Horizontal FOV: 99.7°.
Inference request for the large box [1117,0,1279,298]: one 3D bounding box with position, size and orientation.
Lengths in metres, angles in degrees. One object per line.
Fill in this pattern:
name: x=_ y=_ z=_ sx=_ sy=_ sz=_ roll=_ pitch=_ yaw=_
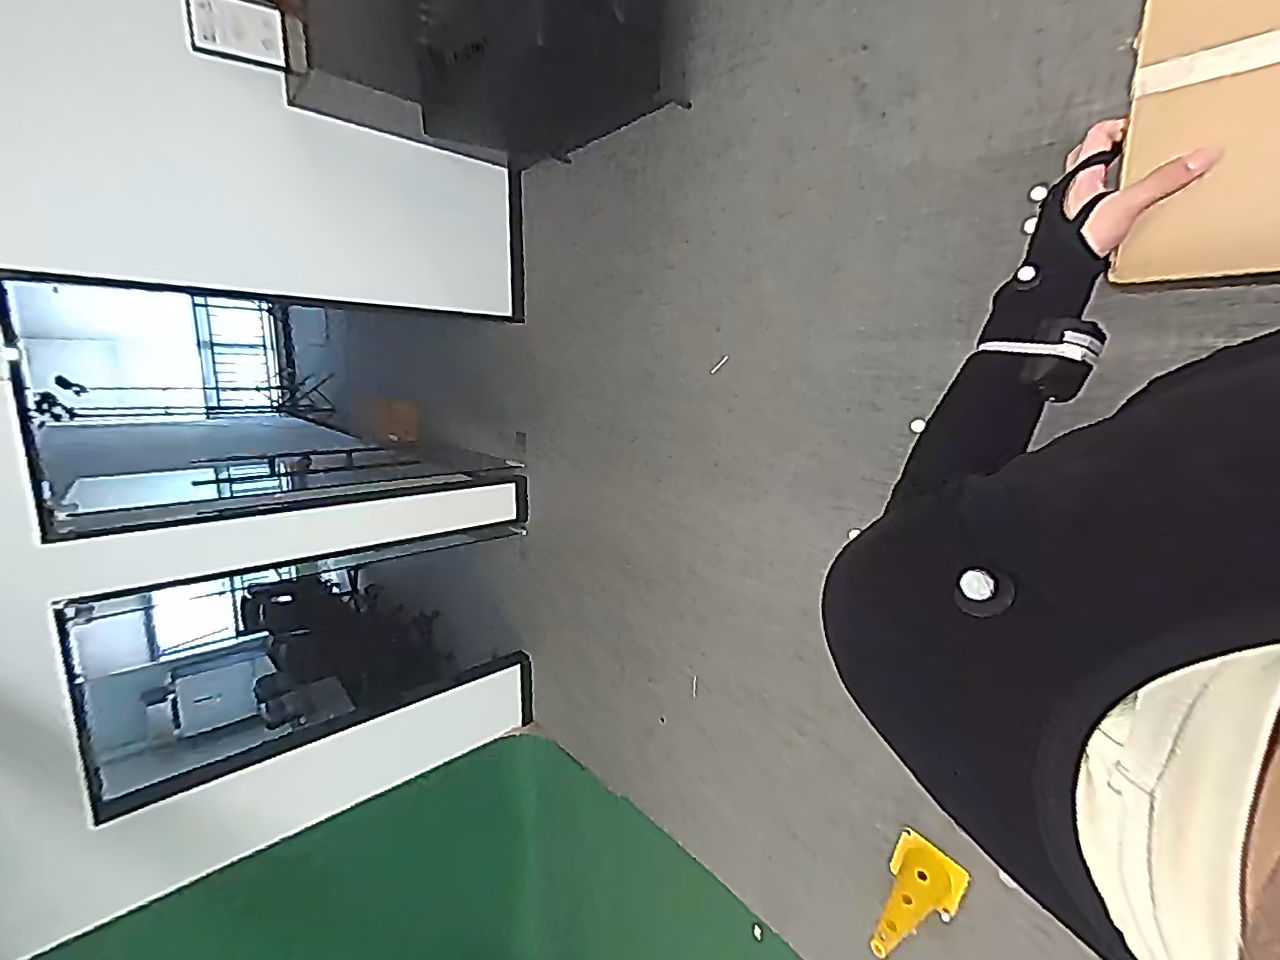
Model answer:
large box: x=0.664 y=-0.337 z=0.435 sx=0.408 sy=0.320 sz=0.320 roll=7 pitch=108 yaw=39
